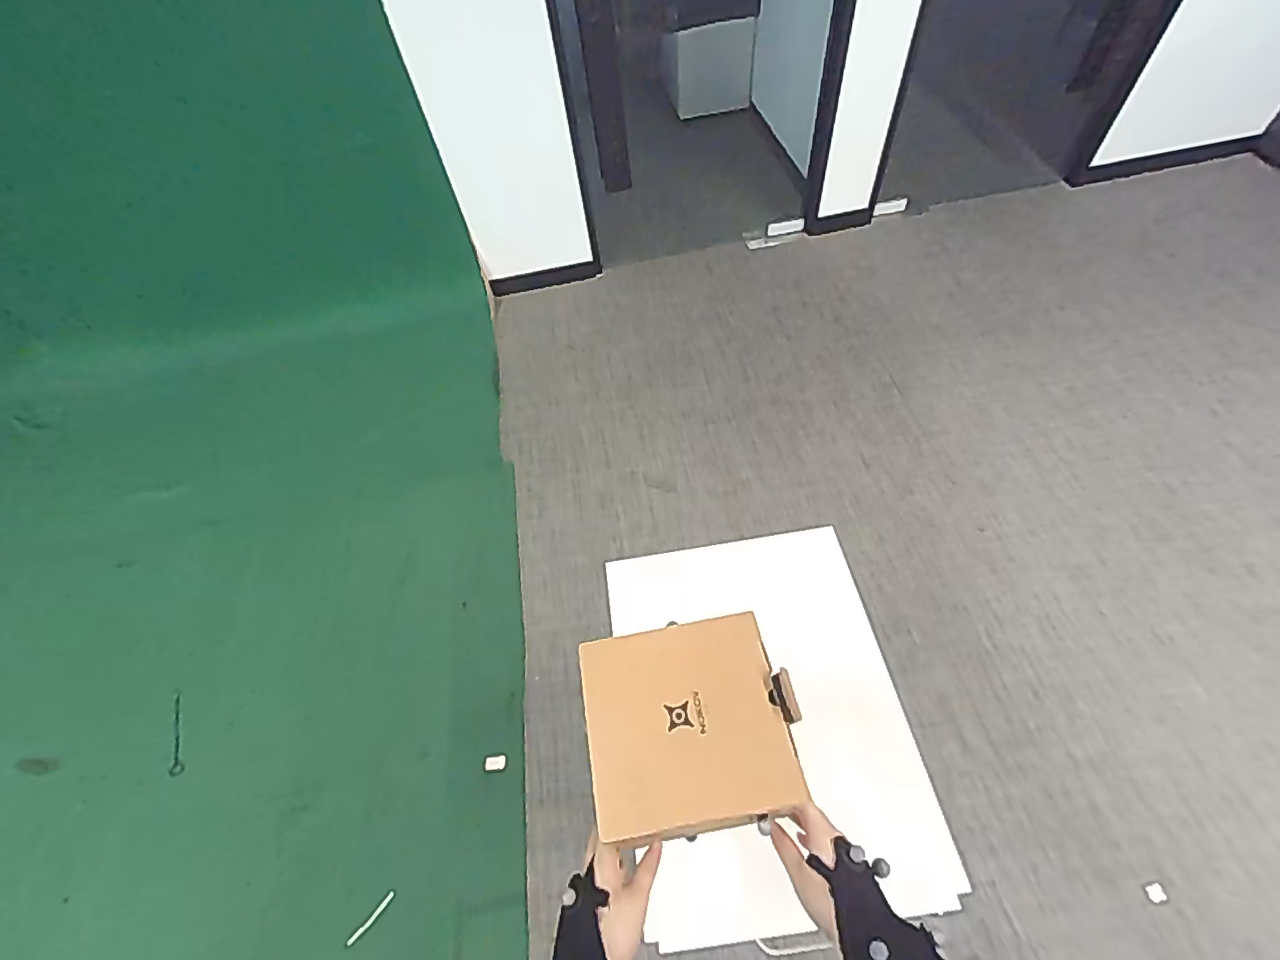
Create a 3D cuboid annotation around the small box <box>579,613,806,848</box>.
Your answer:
[{"bbox_3d":[0.045,0.256,0.543,0.179,0.176,0.168,-10,54,-2],"label":"small box"}]
